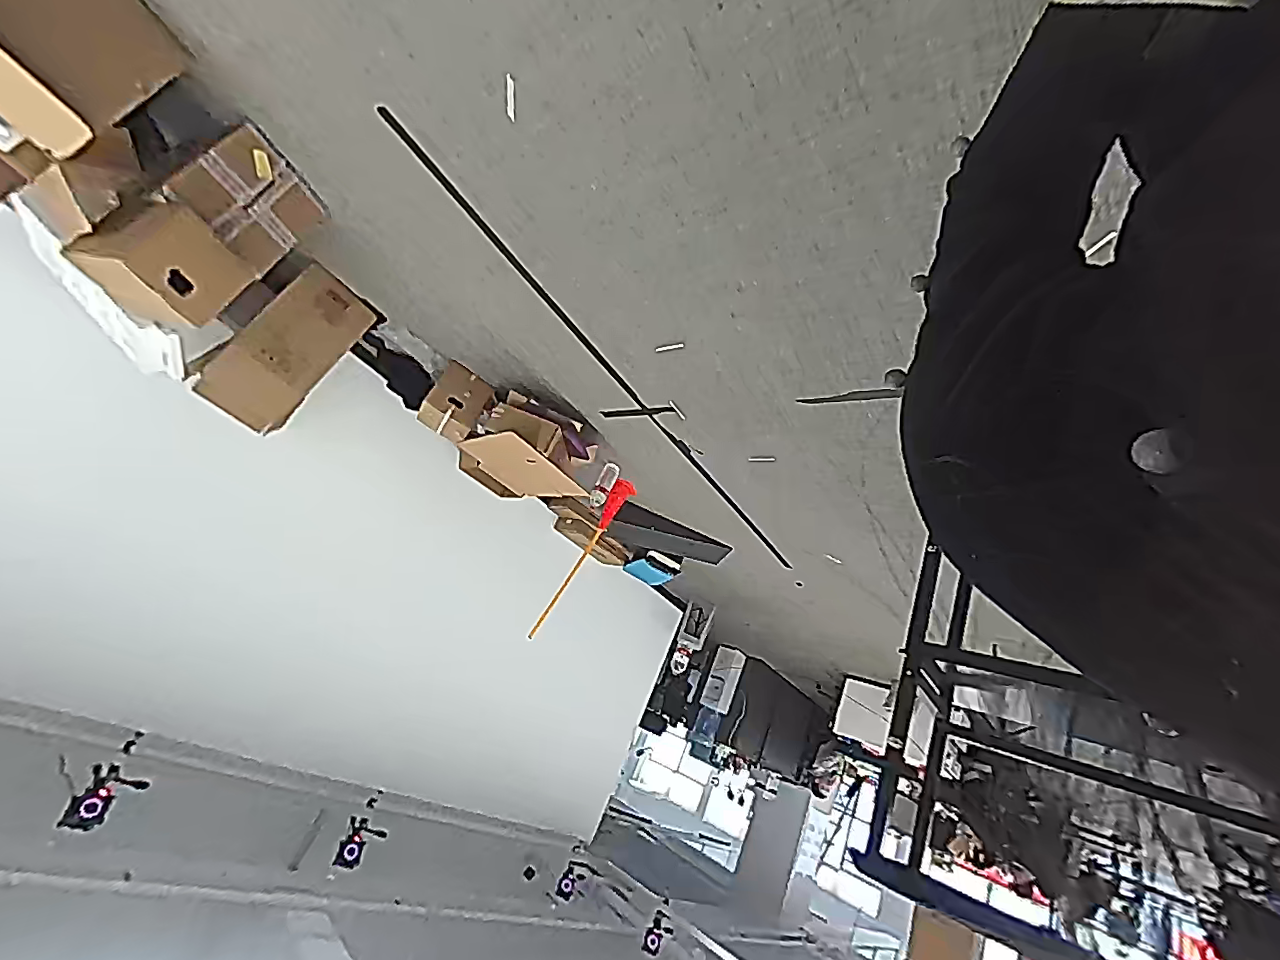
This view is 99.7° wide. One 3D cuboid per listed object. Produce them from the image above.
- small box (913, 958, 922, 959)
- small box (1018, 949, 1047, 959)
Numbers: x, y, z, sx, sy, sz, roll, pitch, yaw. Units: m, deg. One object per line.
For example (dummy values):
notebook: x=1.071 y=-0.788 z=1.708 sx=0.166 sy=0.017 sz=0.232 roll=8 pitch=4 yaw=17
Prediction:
small box: x=0.878 y=1.560 z=1.597 sx=0.179 sy=0.176 sz=0.168 roll=1 pitch=150 yaw=43
small box: x=1.141 y=1.441 z=1.493 sx=0.168 sy=0.176 sz=0.179 roll=4 pitch=151 yaw=42
